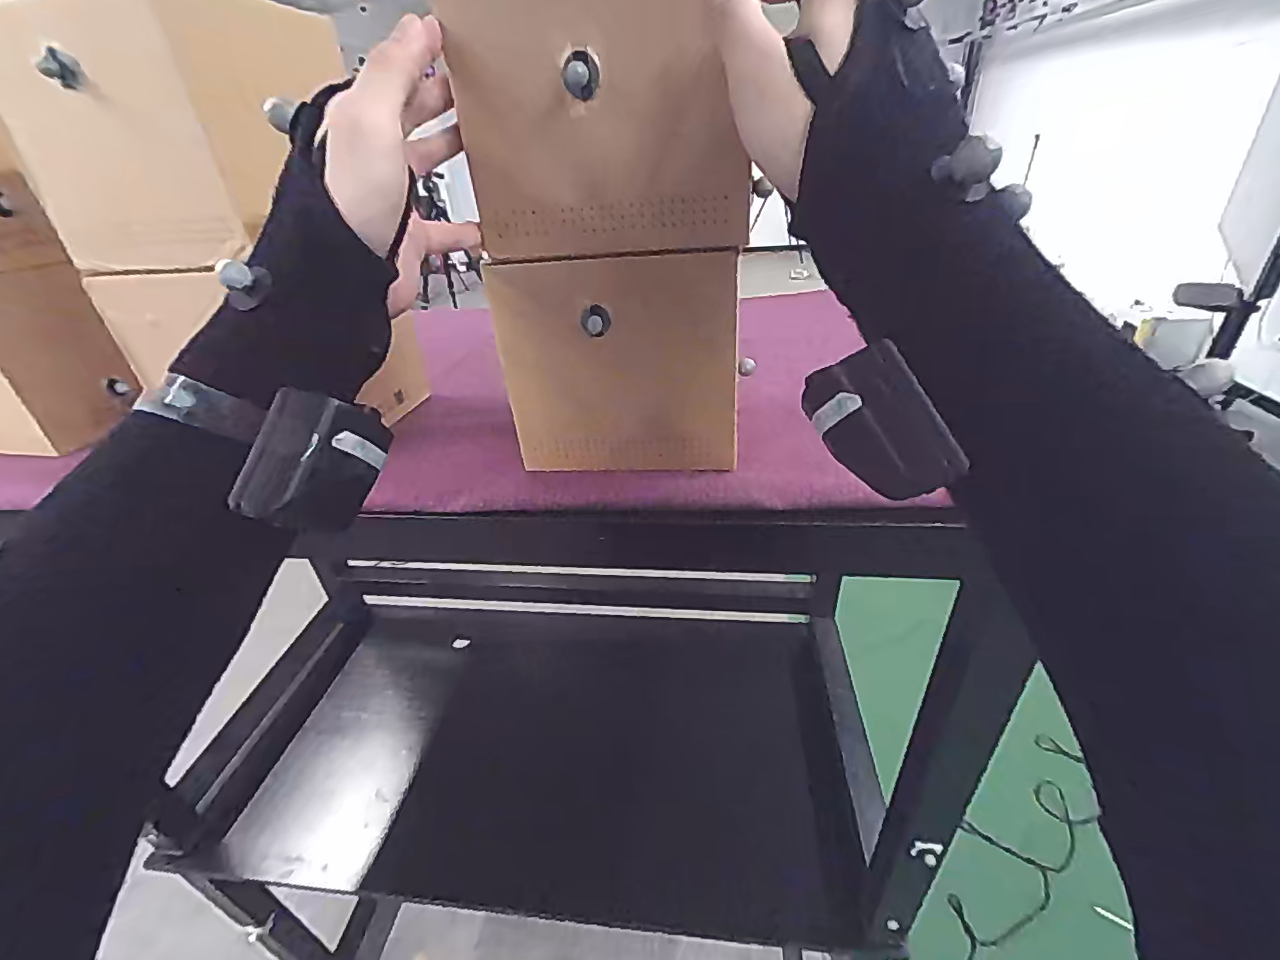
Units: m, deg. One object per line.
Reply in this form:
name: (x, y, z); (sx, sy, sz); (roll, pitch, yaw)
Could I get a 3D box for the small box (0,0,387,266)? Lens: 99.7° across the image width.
small box: (-0.347, -0.273, 0.438); (0.179, 0.176, 0.168); (3, 32, 12)

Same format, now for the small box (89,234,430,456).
small box: (-0.338, -0.132, 0.521); (0.179, 0.176, 0.168); (1, 31, 12)

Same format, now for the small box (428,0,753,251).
small box: (-0.013, -0.261, 0.370); (0.179, 0.176, 0.168); (0, 32, 11)

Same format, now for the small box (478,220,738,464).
small box: (-0.008, -0.123, 0.458); (0.179, 0.176, 0.168); (0, 33, 9)
